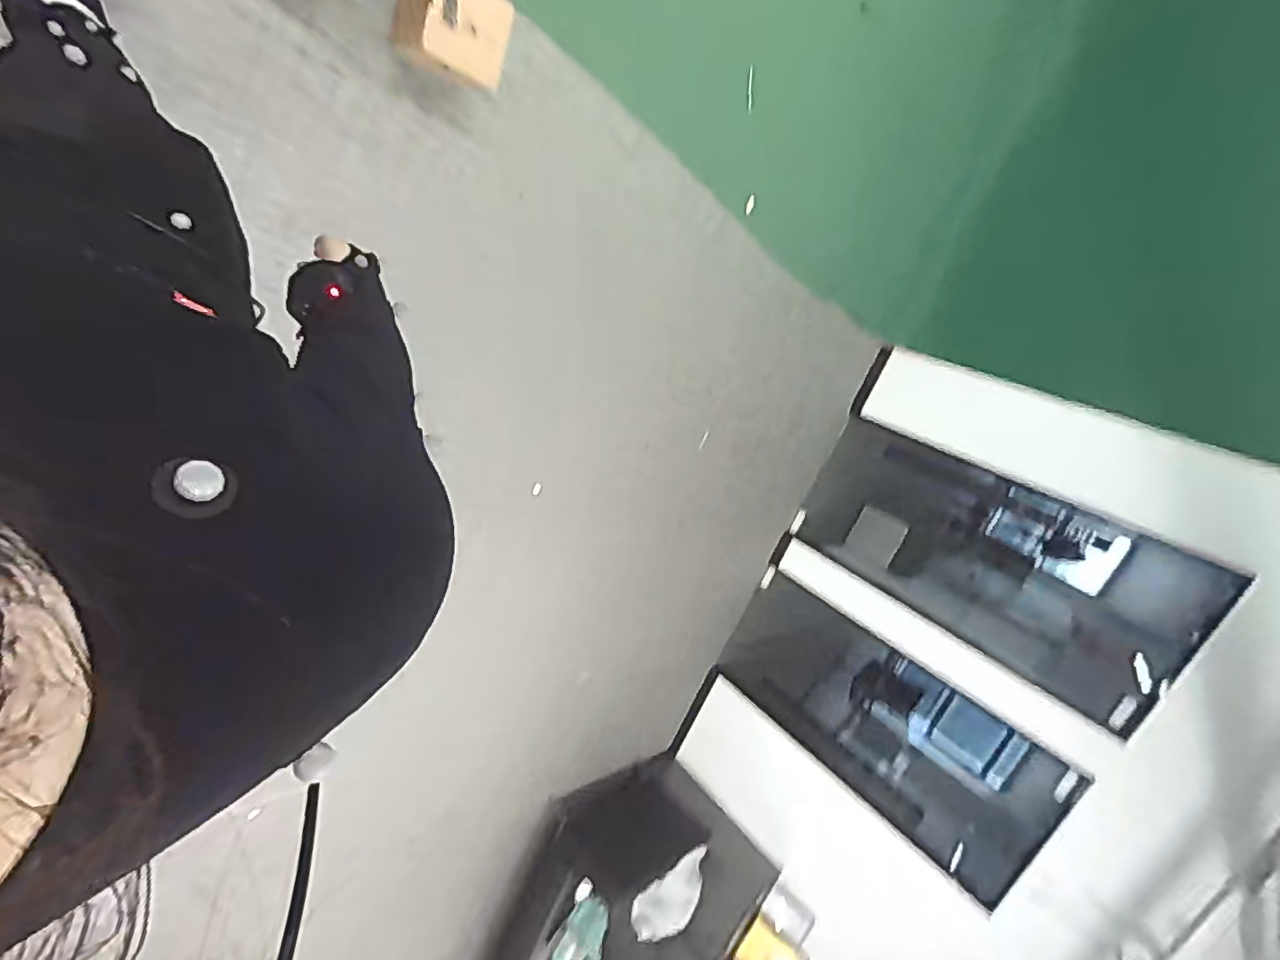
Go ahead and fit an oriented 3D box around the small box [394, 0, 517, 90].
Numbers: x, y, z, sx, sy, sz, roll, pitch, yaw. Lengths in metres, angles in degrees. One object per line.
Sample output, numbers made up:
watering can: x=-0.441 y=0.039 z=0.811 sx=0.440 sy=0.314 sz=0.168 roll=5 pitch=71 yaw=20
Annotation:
small box: x=-0.395 y=-0.962 z=1.146 sx=0.179 sy=0.176 sz=0.168 roll=-1 pitch=119 yaw=-48
